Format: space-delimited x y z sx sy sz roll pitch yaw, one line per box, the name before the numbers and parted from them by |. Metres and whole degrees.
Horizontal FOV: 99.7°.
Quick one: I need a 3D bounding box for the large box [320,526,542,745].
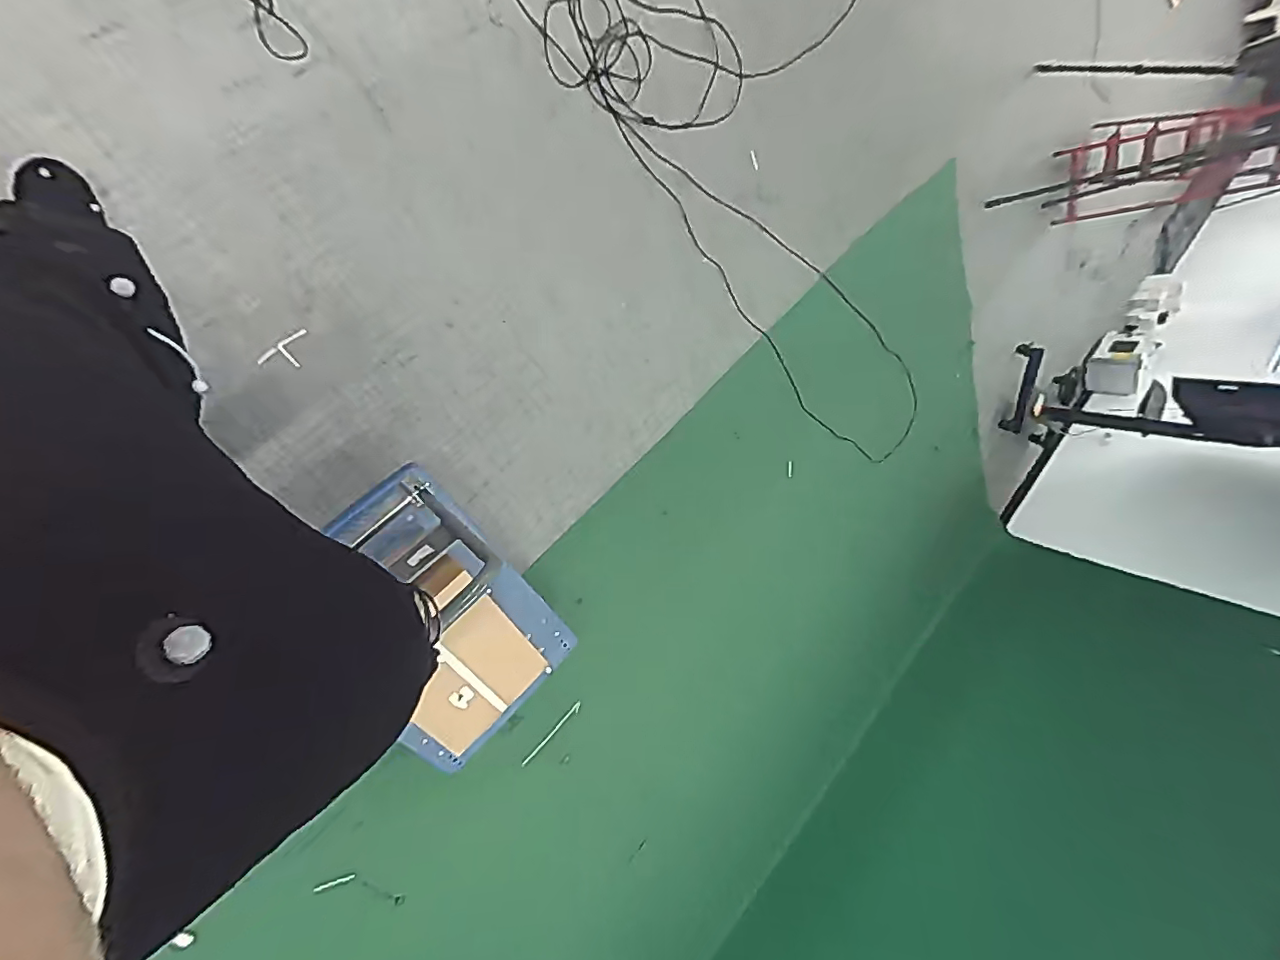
large box | -0.537 0.392 1.408 0.320 0.320 0.408 -42 127 -20
